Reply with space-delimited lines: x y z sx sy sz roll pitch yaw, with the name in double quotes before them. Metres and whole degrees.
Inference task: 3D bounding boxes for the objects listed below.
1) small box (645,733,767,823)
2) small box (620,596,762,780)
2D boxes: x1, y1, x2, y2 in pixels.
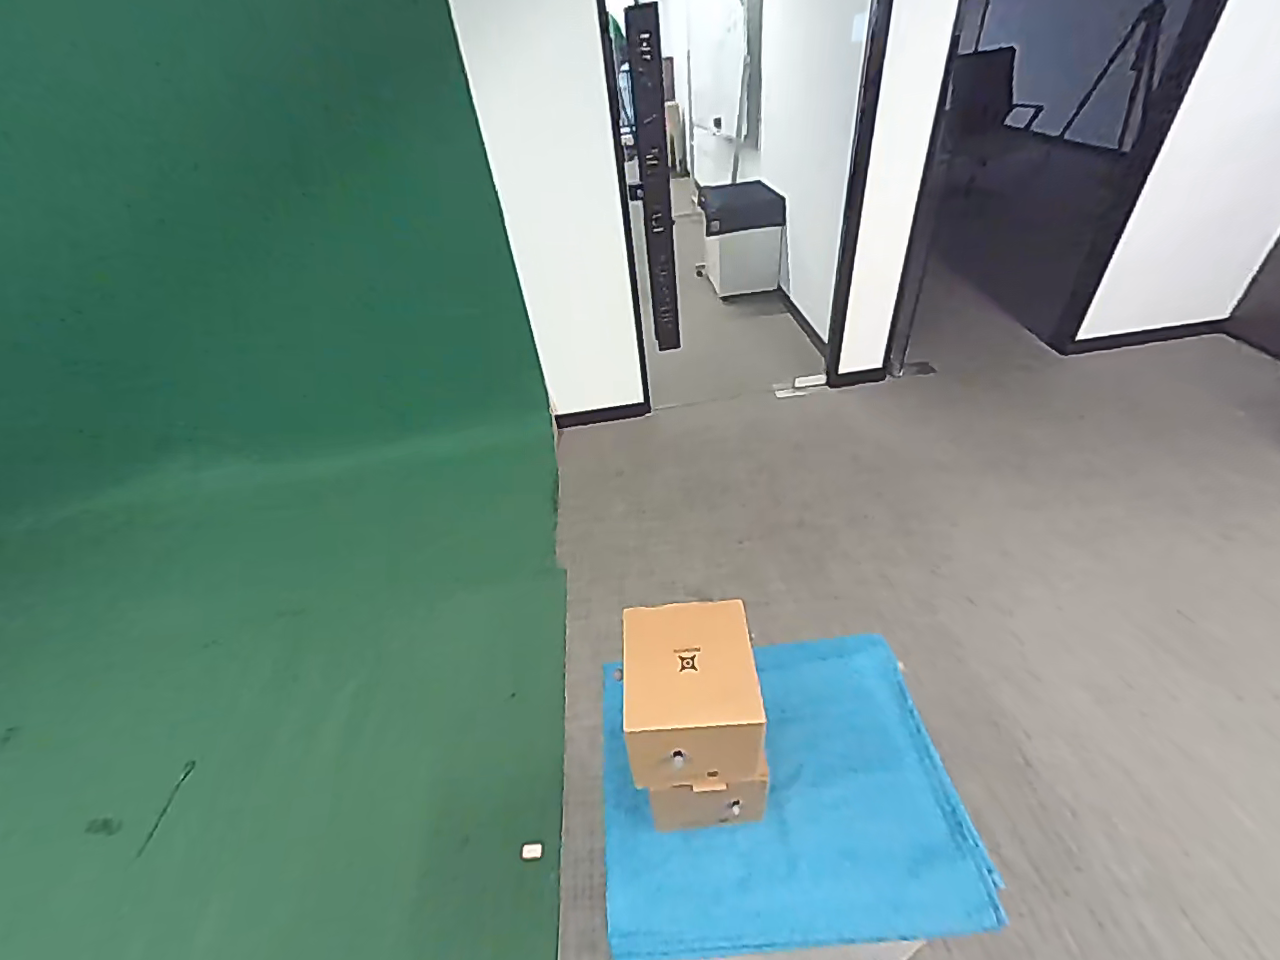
"small box" 0.094 0.404 0.828 0.168 0.176 0.179 -5 40 1
"small box" 0.066 0.282 0.724 0.168 0.176 0.179 -5 39 3
